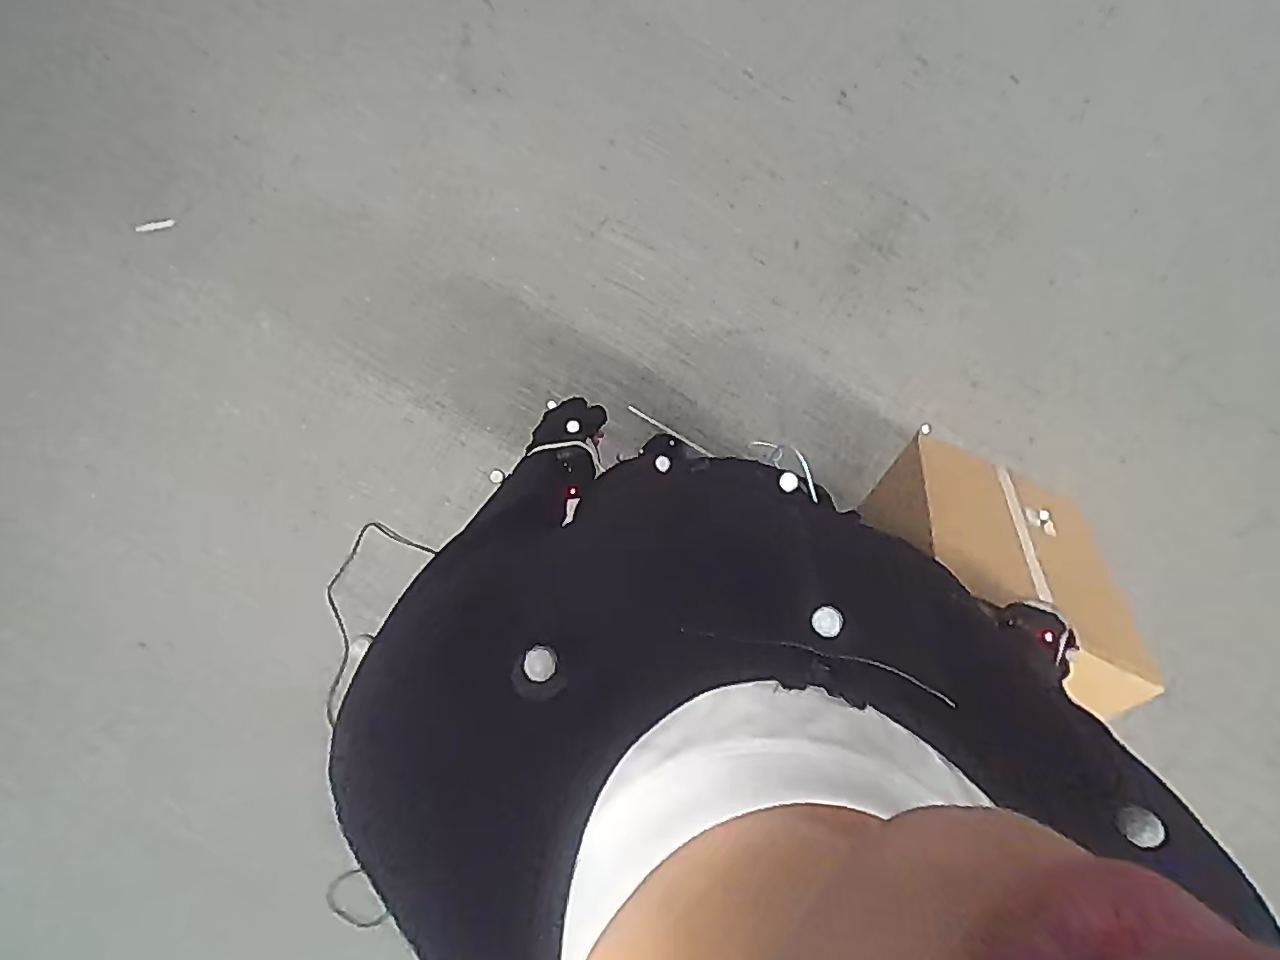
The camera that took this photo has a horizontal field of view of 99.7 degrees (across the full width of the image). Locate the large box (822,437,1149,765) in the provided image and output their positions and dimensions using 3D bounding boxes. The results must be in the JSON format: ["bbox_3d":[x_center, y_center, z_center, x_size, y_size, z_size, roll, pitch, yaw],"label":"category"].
[{"bbox_3d":[0.540,0.196,0.952,0.320,0.408,0.320,26,129,4],"label":"large box"}]
